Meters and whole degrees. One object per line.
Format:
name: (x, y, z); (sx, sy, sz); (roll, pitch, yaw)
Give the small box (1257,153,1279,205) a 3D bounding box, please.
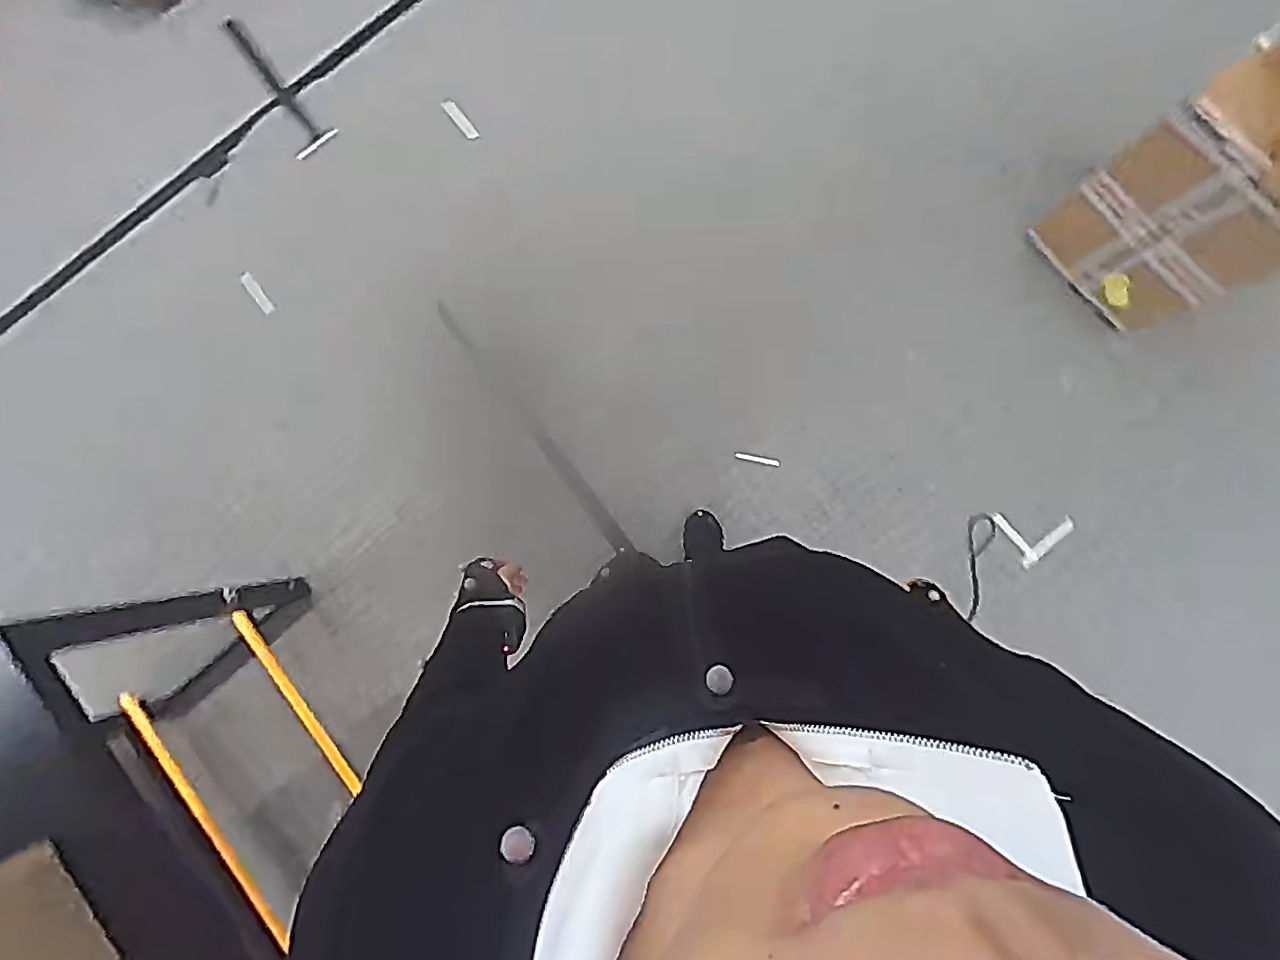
small box: (1.265, -0.572, 0.933); (0.179, 0.176, 0.168); (-41, 84, 2)
